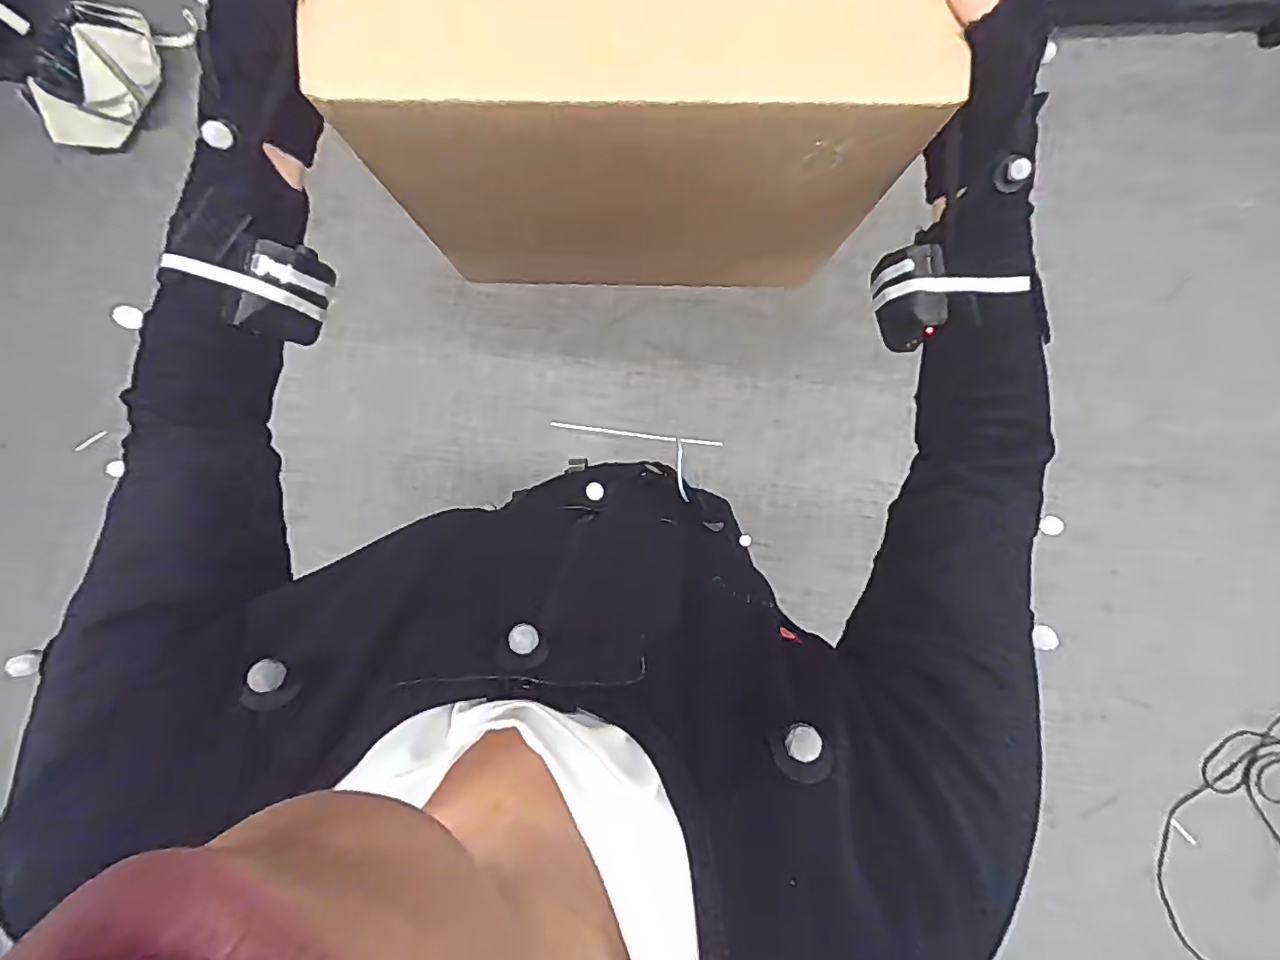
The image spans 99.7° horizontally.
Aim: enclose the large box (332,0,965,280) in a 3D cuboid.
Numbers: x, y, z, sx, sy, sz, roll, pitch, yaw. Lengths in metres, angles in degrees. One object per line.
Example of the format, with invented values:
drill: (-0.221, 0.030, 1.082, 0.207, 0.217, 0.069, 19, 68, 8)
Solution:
large box: (0.002, -0.390, 0.488, 0.408, 0.320, 0.320, 0, 90, -1)
